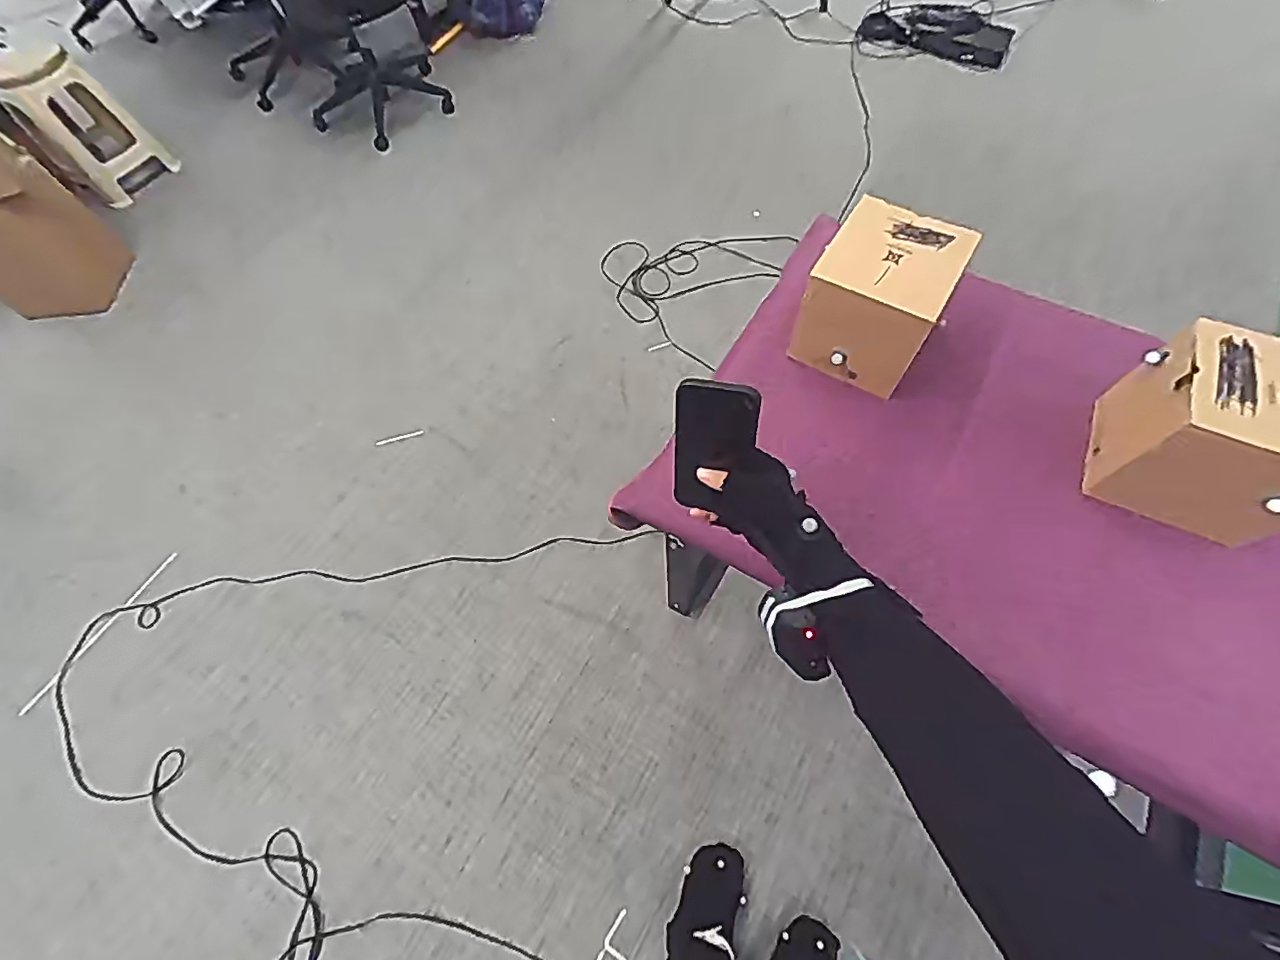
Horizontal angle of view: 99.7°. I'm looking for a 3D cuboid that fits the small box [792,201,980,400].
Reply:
[{"bbox_3d":[0.335,-0.249,0.771,0.168,0.176,0.179,30,70,17],"label":"small box"}]
